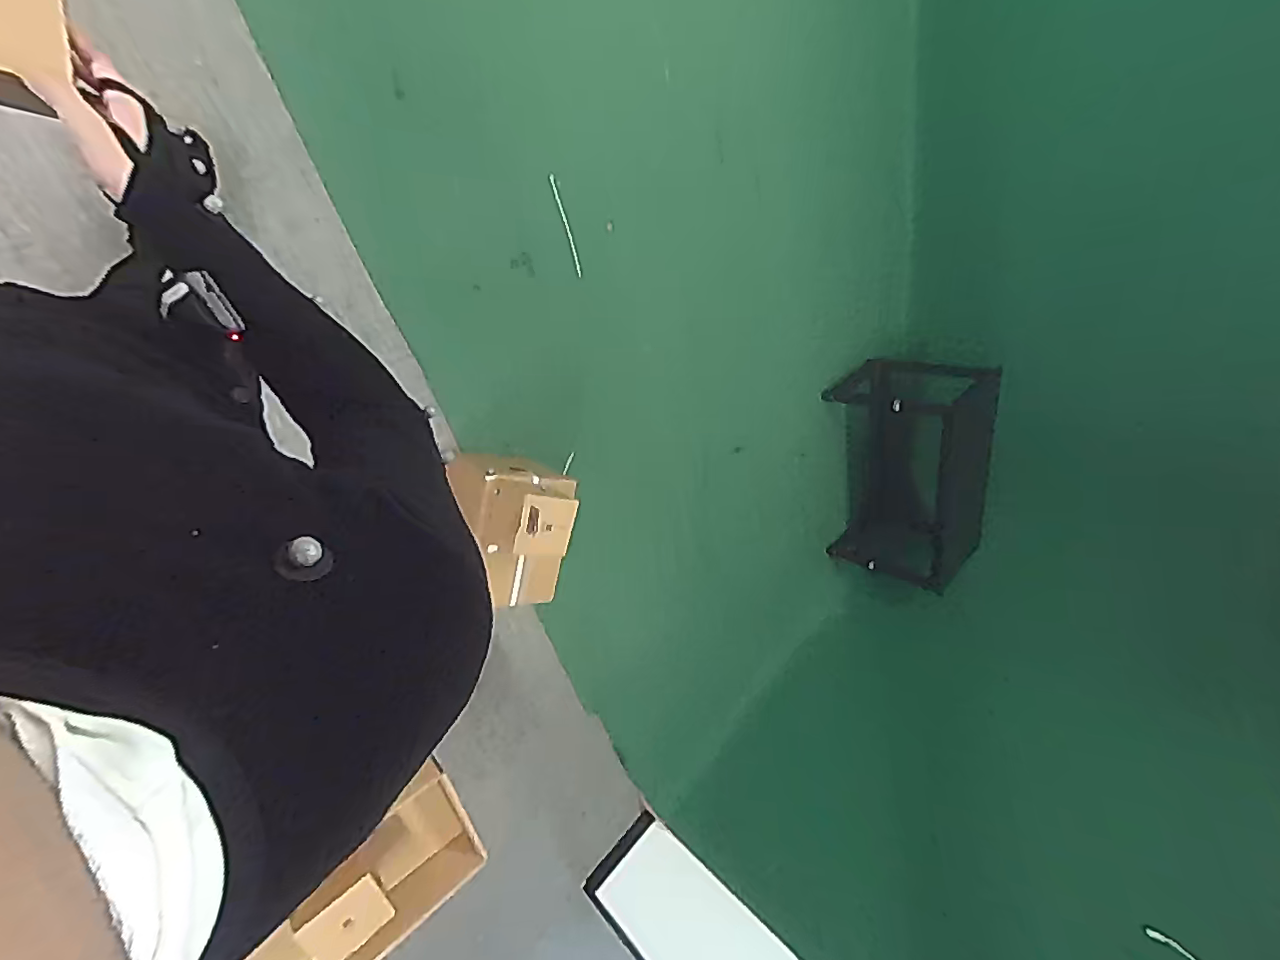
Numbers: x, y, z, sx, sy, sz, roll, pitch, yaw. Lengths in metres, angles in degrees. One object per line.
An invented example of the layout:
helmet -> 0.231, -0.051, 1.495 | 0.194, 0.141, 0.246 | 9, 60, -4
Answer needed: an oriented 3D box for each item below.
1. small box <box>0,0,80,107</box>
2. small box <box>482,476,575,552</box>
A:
small box -> -0.535, -0.408, 0.391 | 0.168, 0.176, 0.179 | -8, 113, -43
small box -> -0.313, 0.091, 1.500 | 0.179, 0.176, 0.168 | 9, 99, -45
